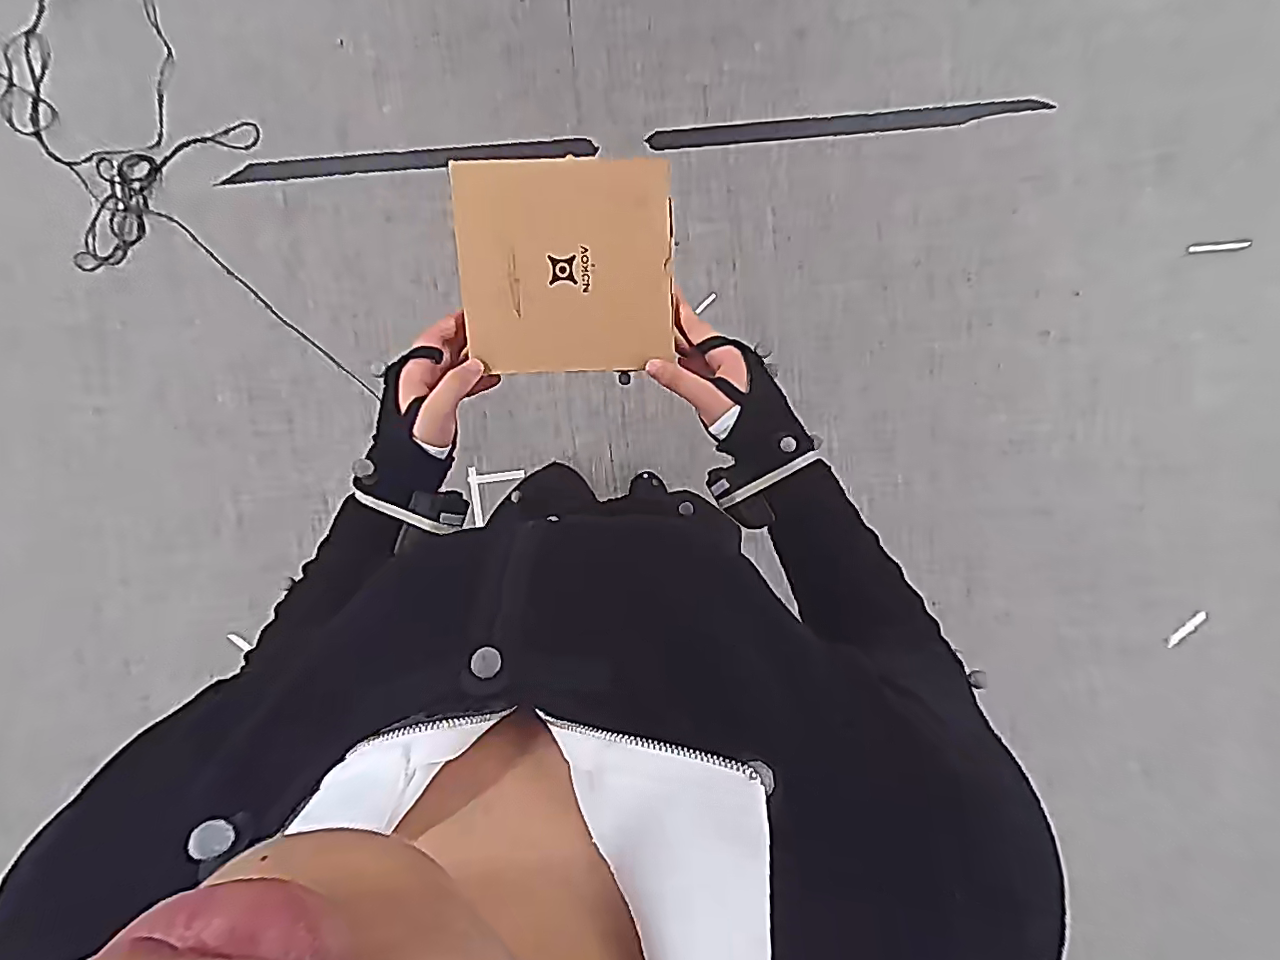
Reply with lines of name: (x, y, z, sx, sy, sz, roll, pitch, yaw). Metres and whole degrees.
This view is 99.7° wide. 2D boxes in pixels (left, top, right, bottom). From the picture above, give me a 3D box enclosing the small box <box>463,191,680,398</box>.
small box: (-0.058, -0.172, 0.537, 0.179, 0.176, 0.168, -3, 101, 0)
